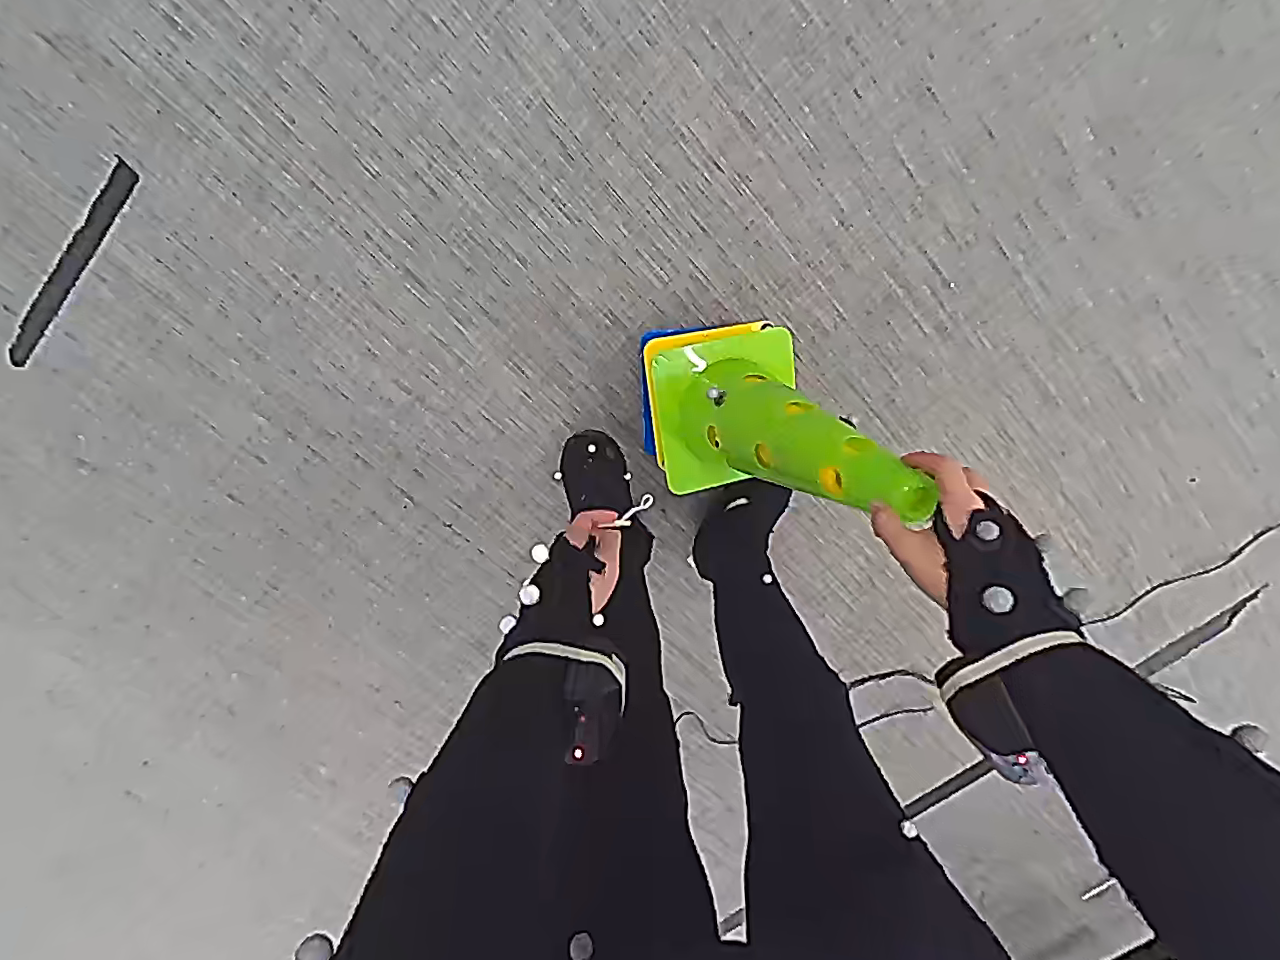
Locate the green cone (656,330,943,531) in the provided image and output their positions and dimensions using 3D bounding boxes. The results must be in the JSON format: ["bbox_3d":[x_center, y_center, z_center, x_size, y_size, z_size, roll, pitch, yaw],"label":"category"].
[{"bbox_3d":[0.170,-0.038,0.566,0.202,0.368,0.200,-14,110,-10],"label":"green cone"}]
